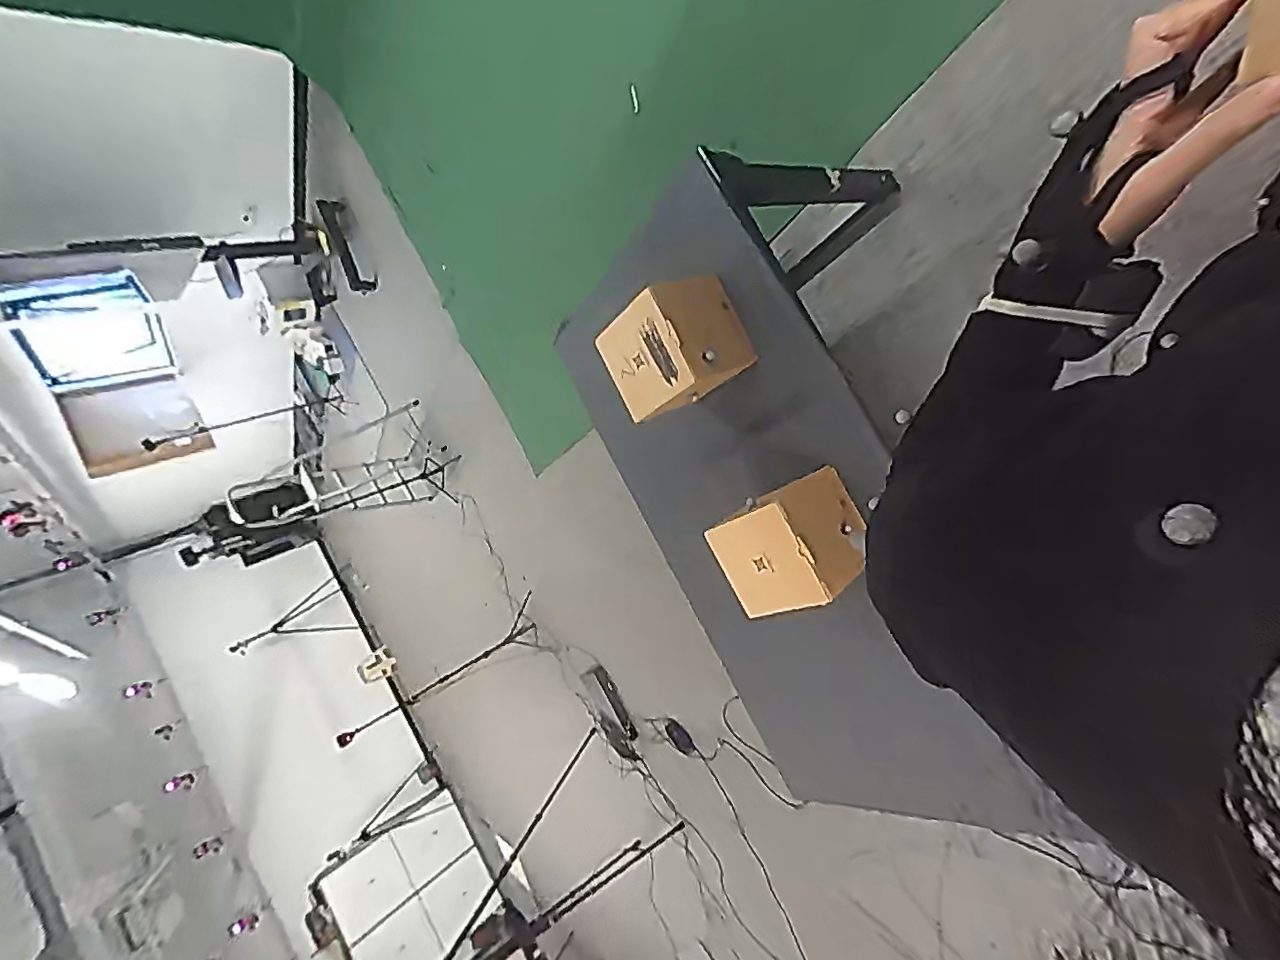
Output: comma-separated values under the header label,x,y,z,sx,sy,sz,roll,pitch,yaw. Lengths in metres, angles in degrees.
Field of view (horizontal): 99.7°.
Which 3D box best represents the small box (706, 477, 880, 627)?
label,x,y,z,sx,sy,sz,roll,pitch,yaw
small box,0.248,0.116,0.879,0.179,0.176,0.168,-34,83,50
